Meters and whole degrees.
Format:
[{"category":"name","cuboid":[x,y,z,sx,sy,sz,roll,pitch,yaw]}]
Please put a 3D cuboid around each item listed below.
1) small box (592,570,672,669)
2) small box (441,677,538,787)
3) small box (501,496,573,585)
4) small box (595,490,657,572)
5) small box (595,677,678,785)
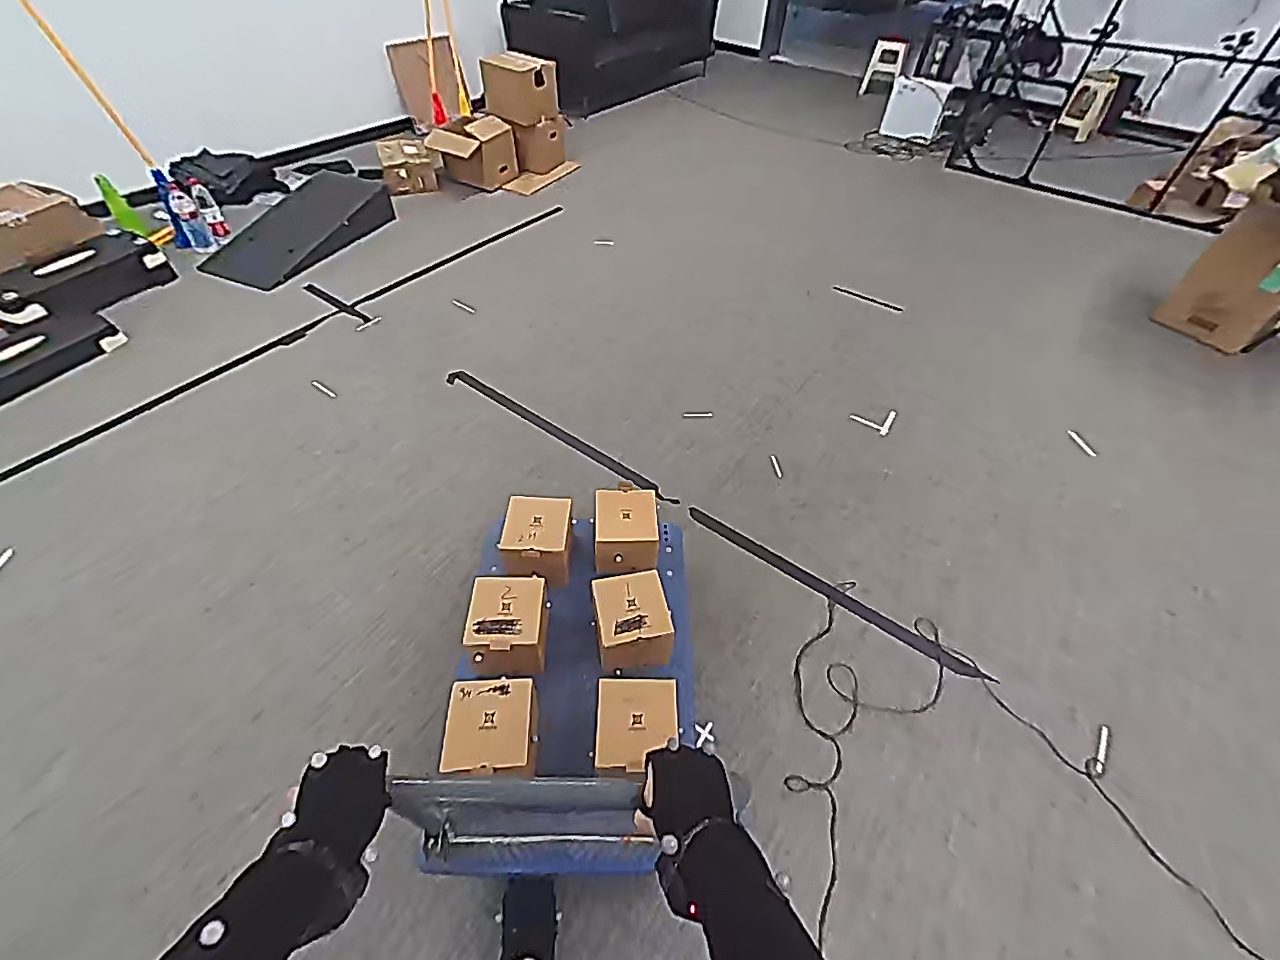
[{"category":"small box","cuboid":[-0.024,0.349,1.331,0.168,0.176,0.179,-7,48,-11]},{"category":"small box","cuboid":[-0.306,0.535,1.142,0.168,0.176,0.179,0,48,-5]},{"category":"small box","cuboid":[-0.274,0.165,1.475,0.168,0.176,0.179,3,49,-1]},{"category":"small box","cuboid":[-0.042,0.146,1.512,0.168,0.176,0.179,0,48,-4]},{"category":"small box","cuboid":[-0.009,0.542,1.160,0.168,0.176,0.179,3,47,-3]}]
